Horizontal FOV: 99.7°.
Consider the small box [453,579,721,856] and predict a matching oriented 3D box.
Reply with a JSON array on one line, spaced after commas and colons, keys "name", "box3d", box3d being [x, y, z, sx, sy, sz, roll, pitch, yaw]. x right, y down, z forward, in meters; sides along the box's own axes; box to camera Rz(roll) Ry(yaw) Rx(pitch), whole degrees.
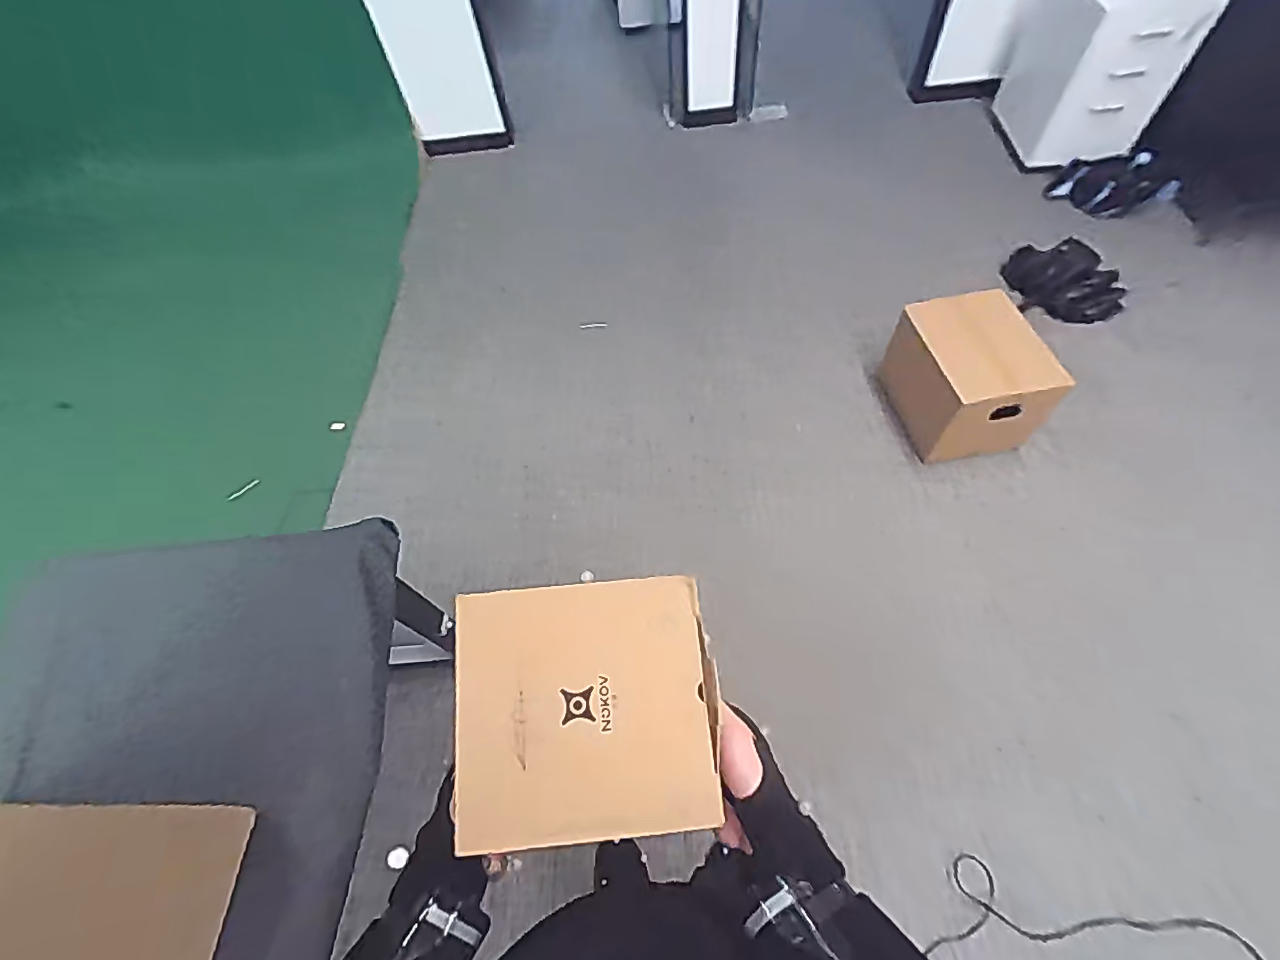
[{"name": "small box", "box3d": [-0.041, 0.180, 0.448, 0.179, 0.176, 0.168, -6, 72, -1]}]
